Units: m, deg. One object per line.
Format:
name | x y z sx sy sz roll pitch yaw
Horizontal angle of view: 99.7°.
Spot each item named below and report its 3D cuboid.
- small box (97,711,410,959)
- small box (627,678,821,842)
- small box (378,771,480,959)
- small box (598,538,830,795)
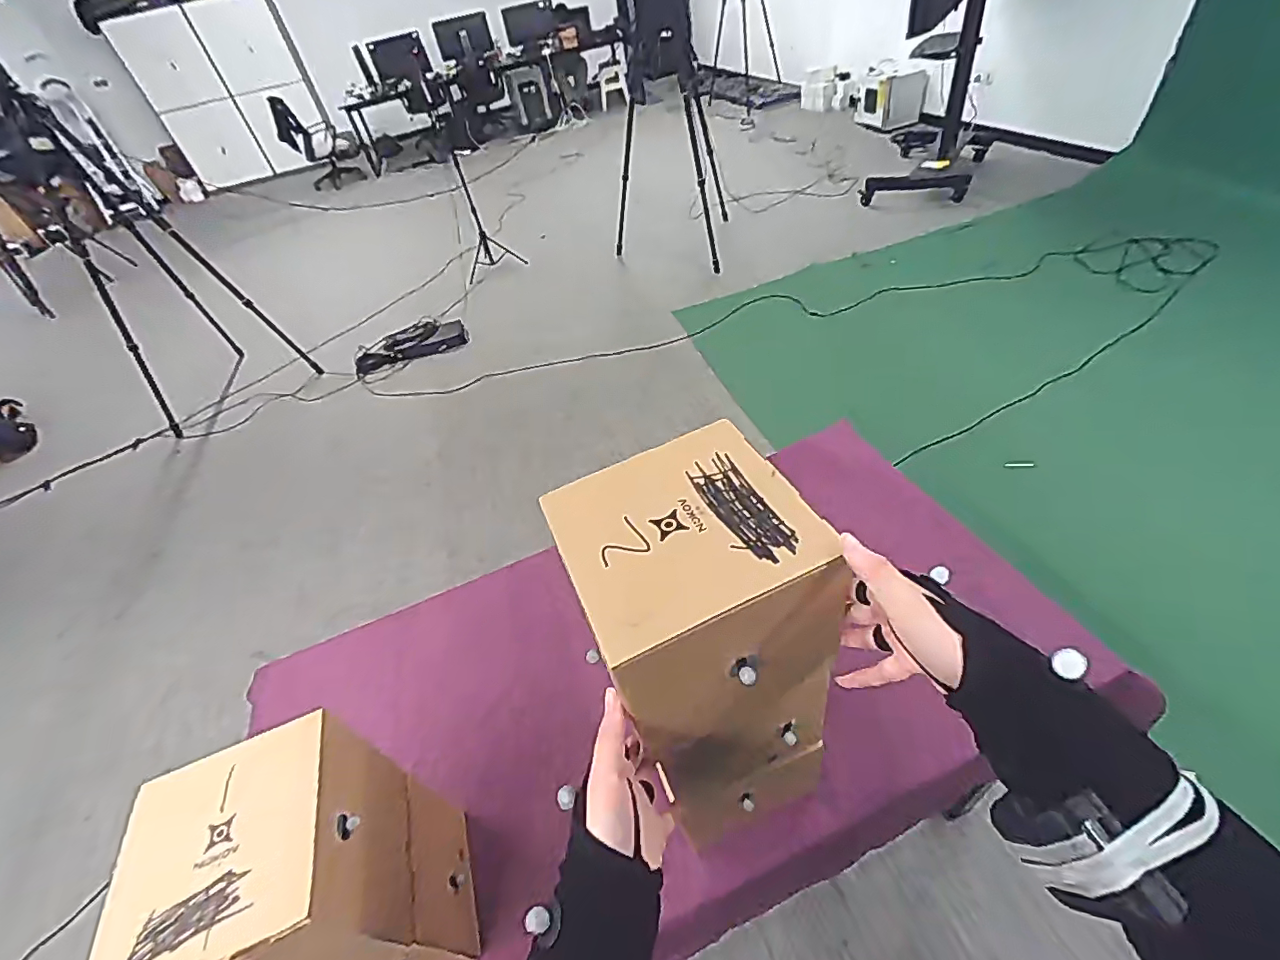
small box | -0.330 0.358 0.501 0.168 0.176 0.179 -21 43 -9
small box | 0.103 0.317 0.674 0.179 0.176 0.168 -20 45 -7
small box | -0.304 0.474 0.614 0.179 0.176 0.168 -21 45 -9
small box | 0.074 0.199 0.565 0.168 0.176 0.179 -22 44 -9
